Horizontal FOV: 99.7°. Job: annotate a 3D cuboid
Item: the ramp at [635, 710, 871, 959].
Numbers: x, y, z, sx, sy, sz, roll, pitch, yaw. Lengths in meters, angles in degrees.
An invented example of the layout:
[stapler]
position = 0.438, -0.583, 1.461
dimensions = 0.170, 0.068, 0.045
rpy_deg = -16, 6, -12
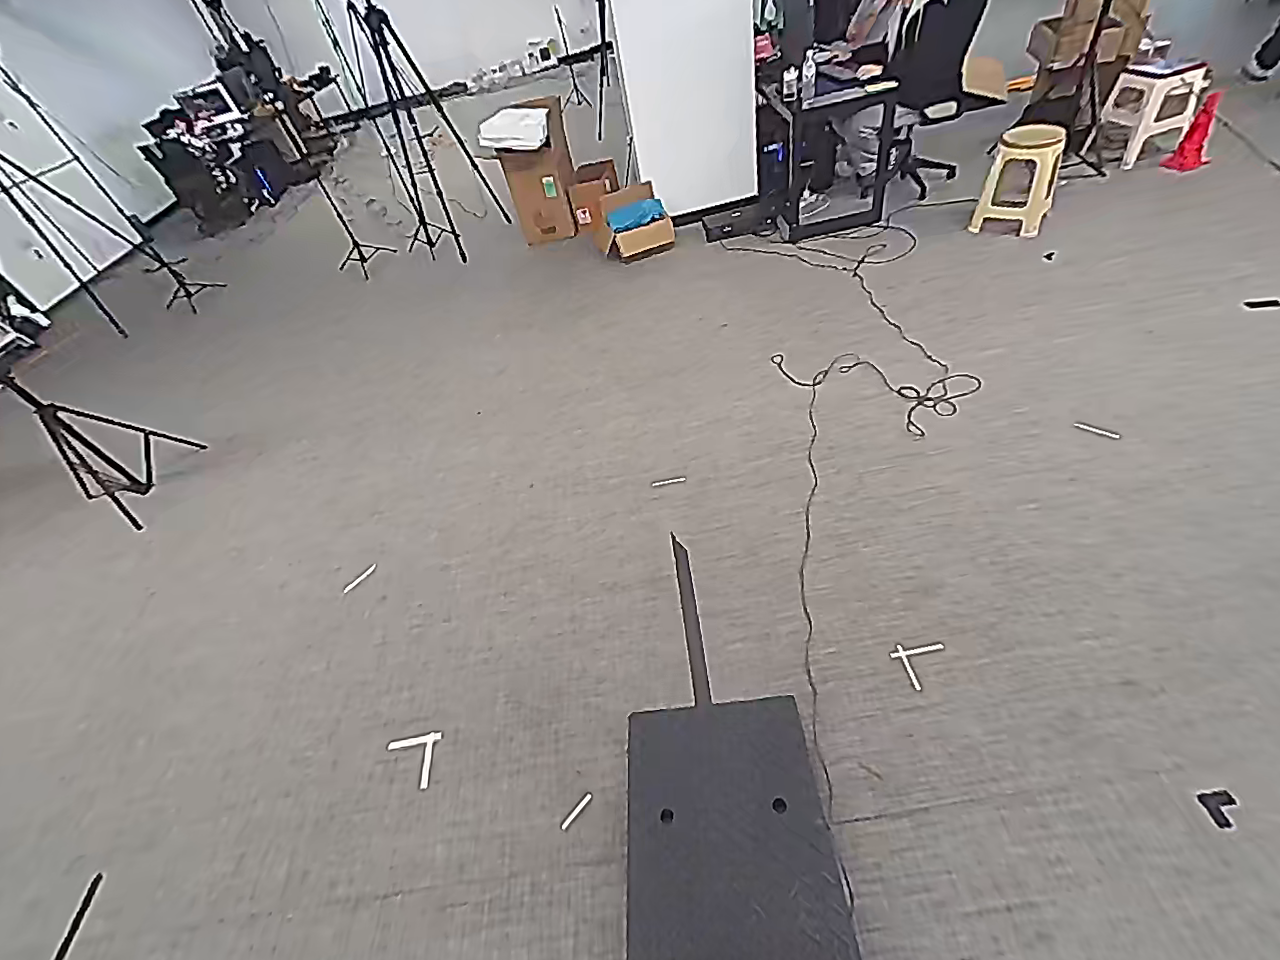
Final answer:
[ramp]
position = 0.232, 0.989, 1.174
dimensions = 0.509, 0.206, 0.991
rpy_deg = -12, 43, 5
